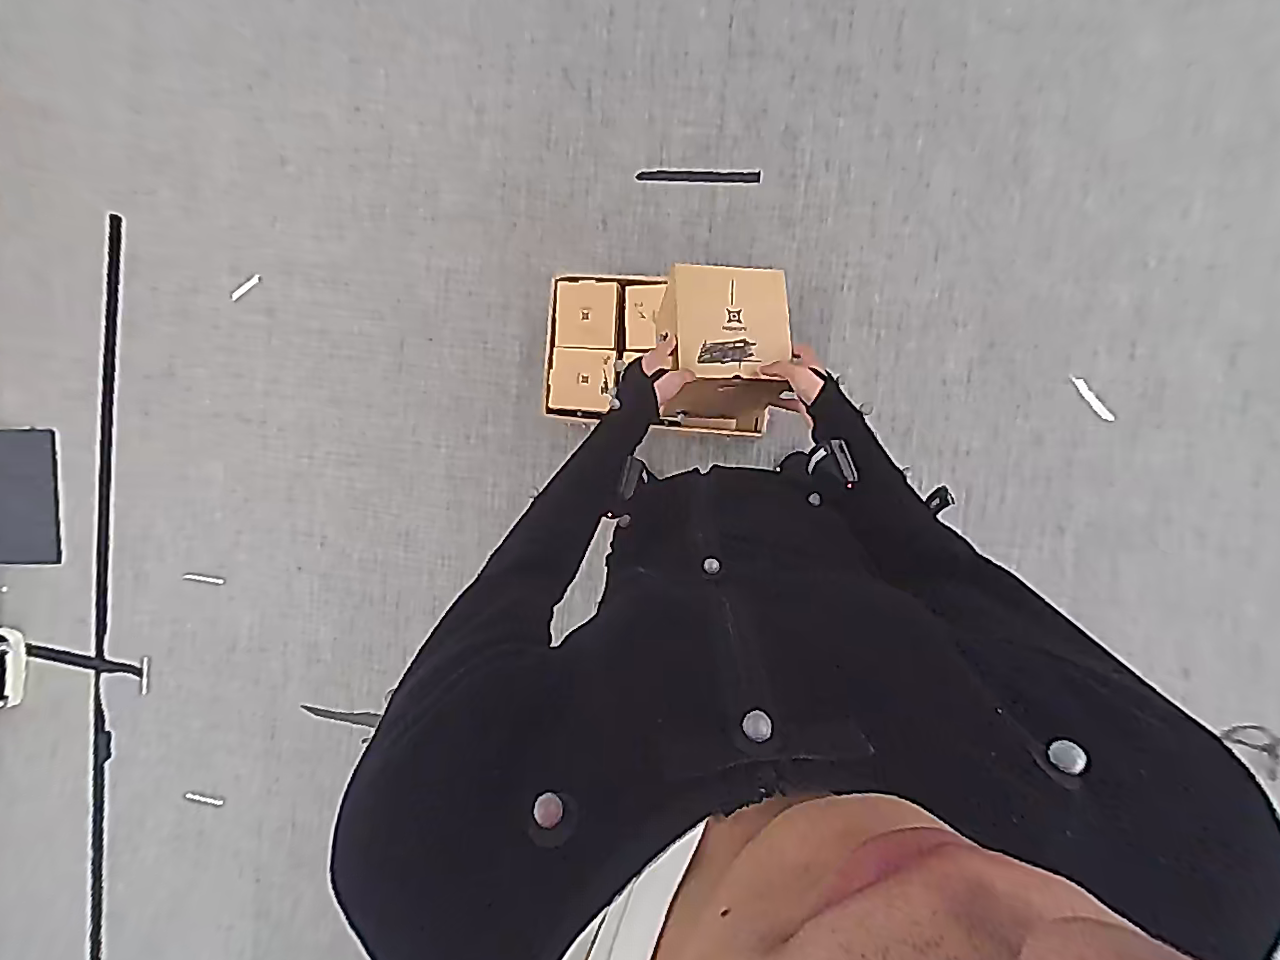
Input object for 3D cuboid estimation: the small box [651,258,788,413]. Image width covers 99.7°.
[{"bbox_3d":[0.110,-0.207,0.820,0.168,0.176,0.179,0,78,-9],"label":"small box"}]
